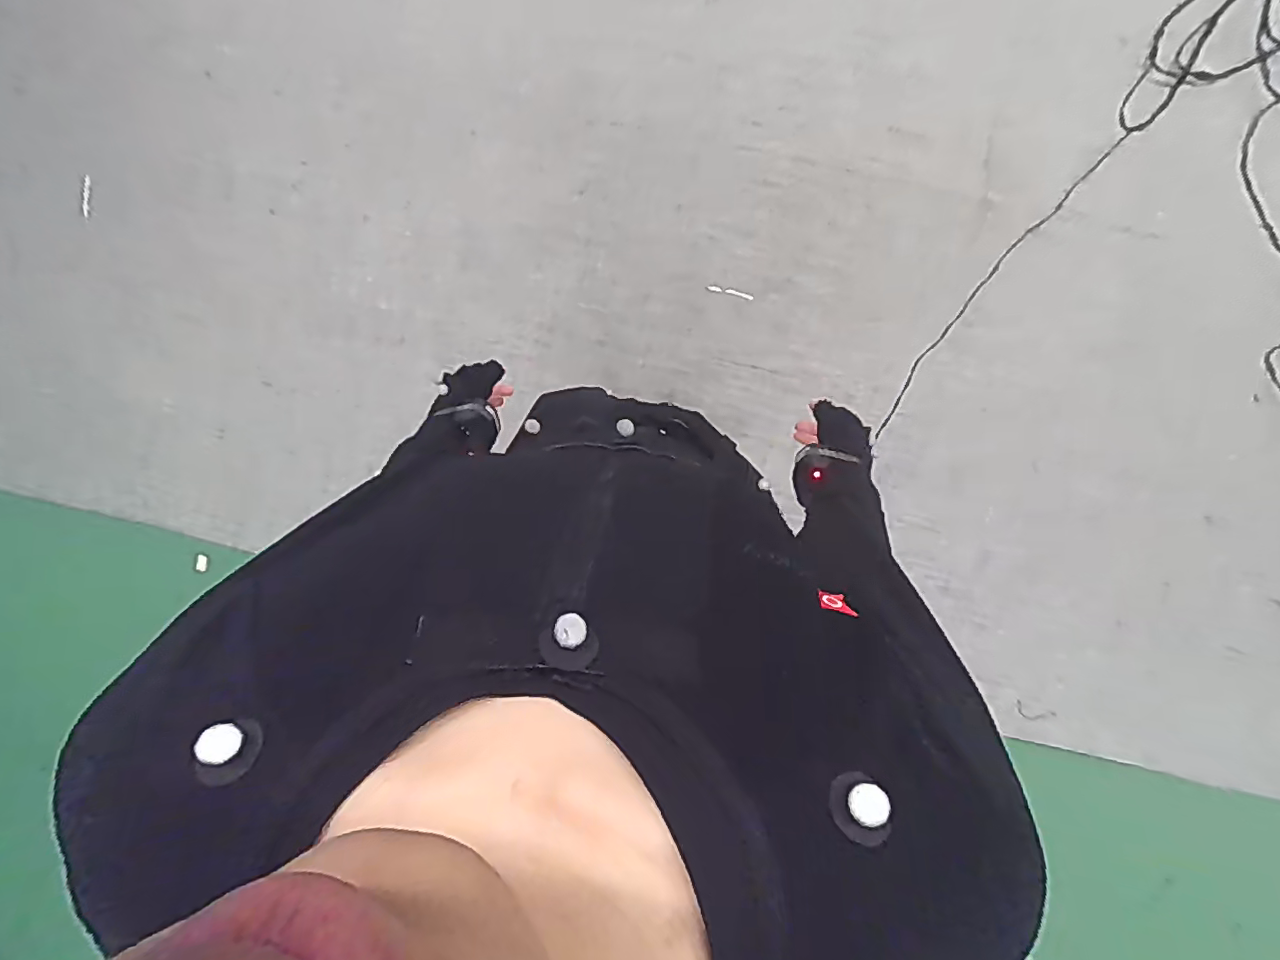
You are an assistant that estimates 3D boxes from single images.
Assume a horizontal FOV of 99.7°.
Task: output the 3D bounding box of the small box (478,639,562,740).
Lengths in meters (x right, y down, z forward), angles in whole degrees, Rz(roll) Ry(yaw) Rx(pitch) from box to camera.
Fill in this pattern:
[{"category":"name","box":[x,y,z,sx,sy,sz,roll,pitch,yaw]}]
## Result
[{"category":"small box","box":[-0.321,0.566,1.477,0.168,0.176,0.179,13,99,1]}]
